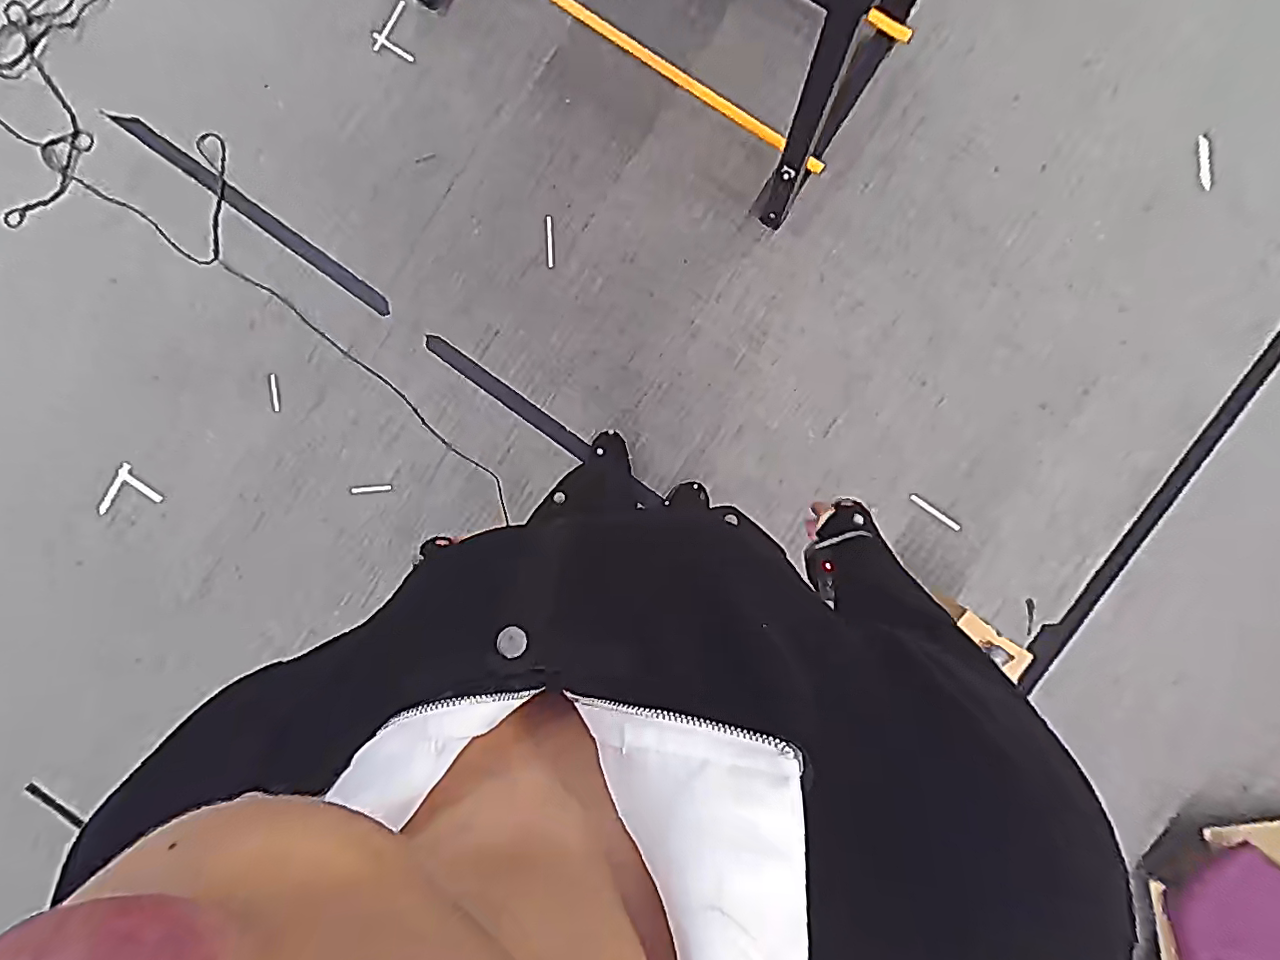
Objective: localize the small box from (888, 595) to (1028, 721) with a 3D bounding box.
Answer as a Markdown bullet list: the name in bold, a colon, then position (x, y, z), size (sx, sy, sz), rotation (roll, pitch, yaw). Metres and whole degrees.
- **small box**: position (0.687, 0.380, 1.195), size (0.168, 0.176, 0.179), rotation (37, 94, 2)
